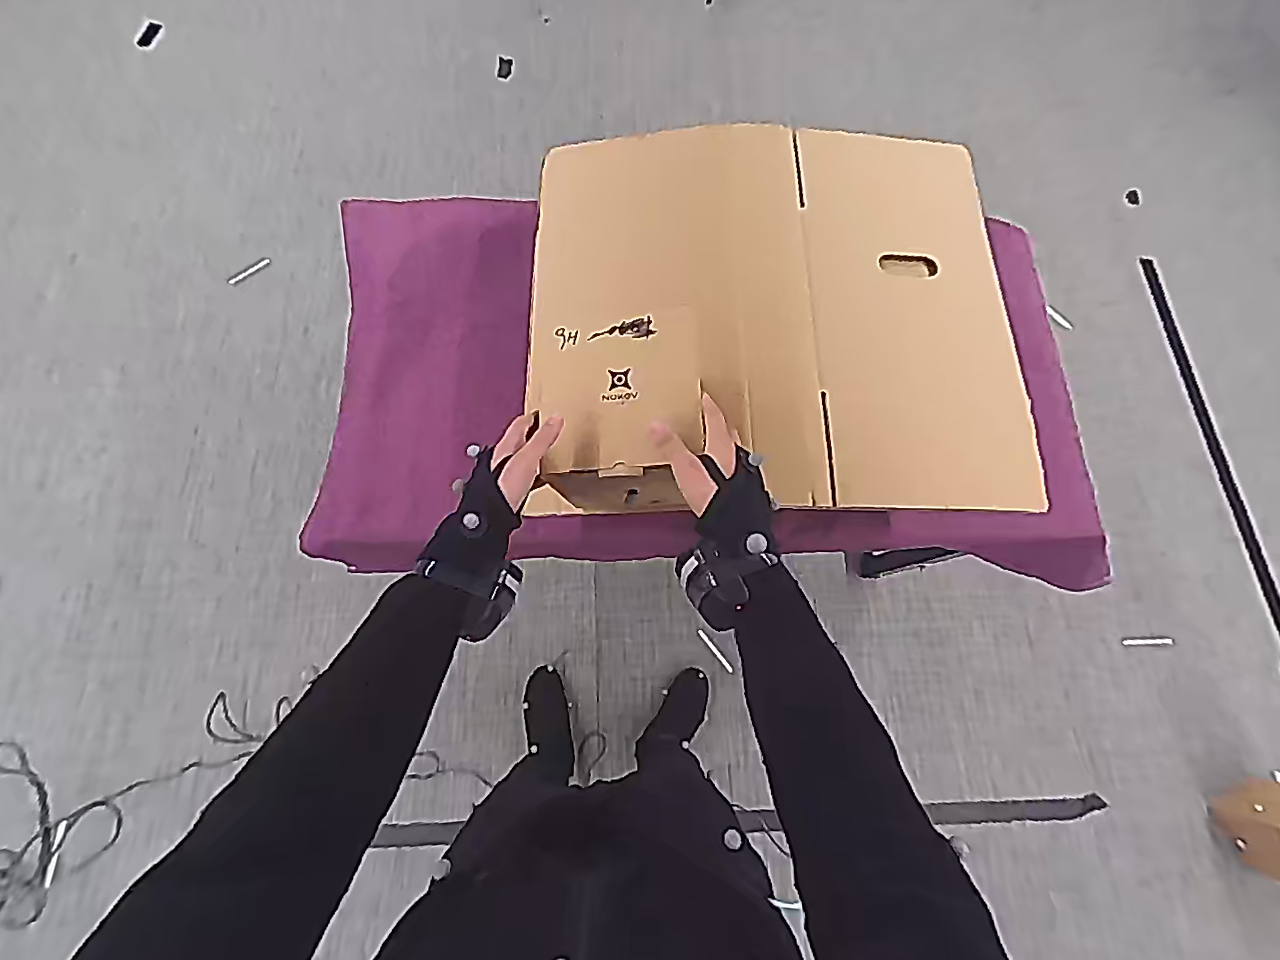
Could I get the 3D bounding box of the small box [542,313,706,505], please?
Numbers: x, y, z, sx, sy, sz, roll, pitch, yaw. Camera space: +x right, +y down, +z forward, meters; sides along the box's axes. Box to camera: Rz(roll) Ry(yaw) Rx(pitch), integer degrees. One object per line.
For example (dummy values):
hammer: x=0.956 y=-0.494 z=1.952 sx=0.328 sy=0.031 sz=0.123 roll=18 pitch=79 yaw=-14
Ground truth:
small box: x=-0.009 y=-0.068 z=0.629 sx=0.168 sy=0.176 sz=0.179 roll=-3 pitch=75 yaw=6
